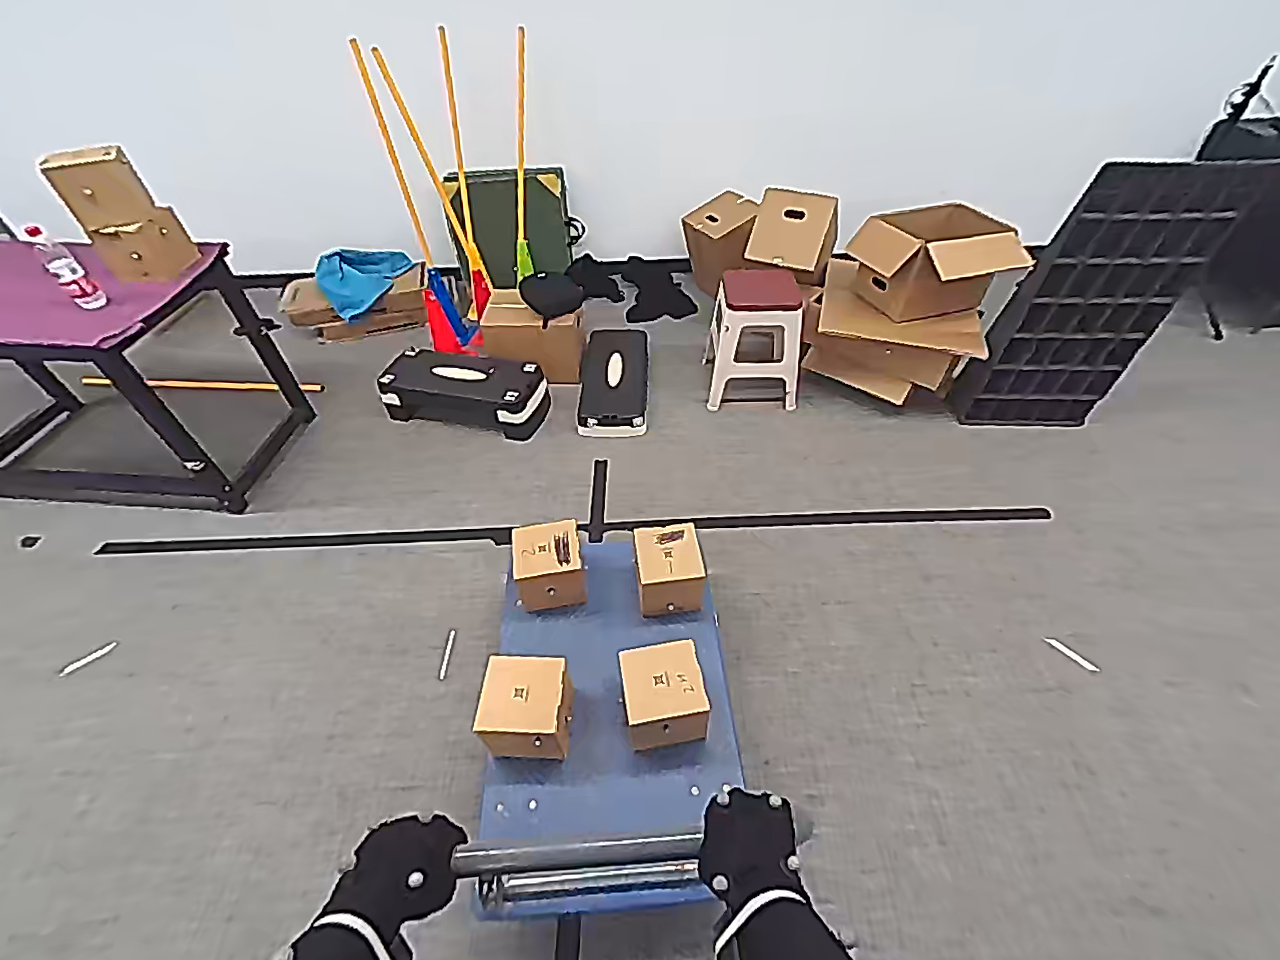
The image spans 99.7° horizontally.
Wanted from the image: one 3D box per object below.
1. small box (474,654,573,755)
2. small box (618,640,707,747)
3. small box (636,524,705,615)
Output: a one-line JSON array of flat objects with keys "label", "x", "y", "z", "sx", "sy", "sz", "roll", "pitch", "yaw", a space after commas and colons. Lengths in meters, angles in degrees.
[{"label": "small box", "x": -0.256, "y": 0.514, "z": 1.232, "sx": 0.179, "sy": 0.176, "sz": 0.168, "roll": 2, "pitch": 47, "yaw": 2}, {"label": "small box", "x": 0.050, "y": 0.492, "z": 1.239, "sx": 0.179, "sy": 0.176, "sz": 0.168, "roll": -8, "pitch": 47, "yaw": -4}, {"label": "small box", "x": 0.077, "y": 0.244, "z": 1.469, "sx": 0.168, "sy": 0.176, "sz": 0.179, "roll": -6, "pitch": 48, "yaw": -3}]
